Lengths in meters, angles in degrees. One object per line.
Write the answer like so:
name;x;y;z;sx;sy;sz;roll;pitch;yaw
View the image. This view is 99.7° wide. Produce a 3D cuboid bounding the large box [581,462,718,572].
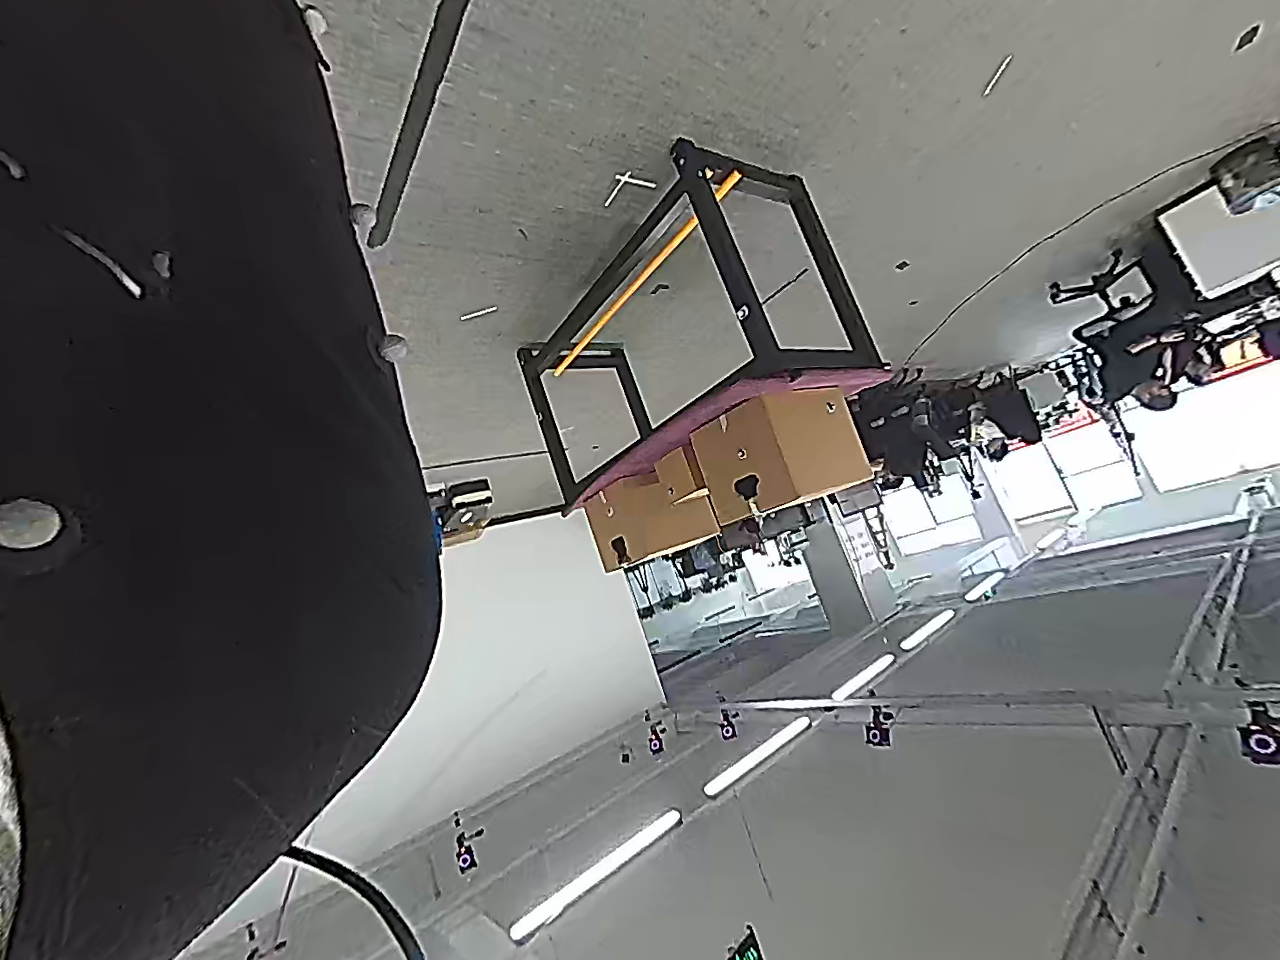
large box;0.034;0.146;2.208;0.408;0.320;0.320;-12;169;-39
